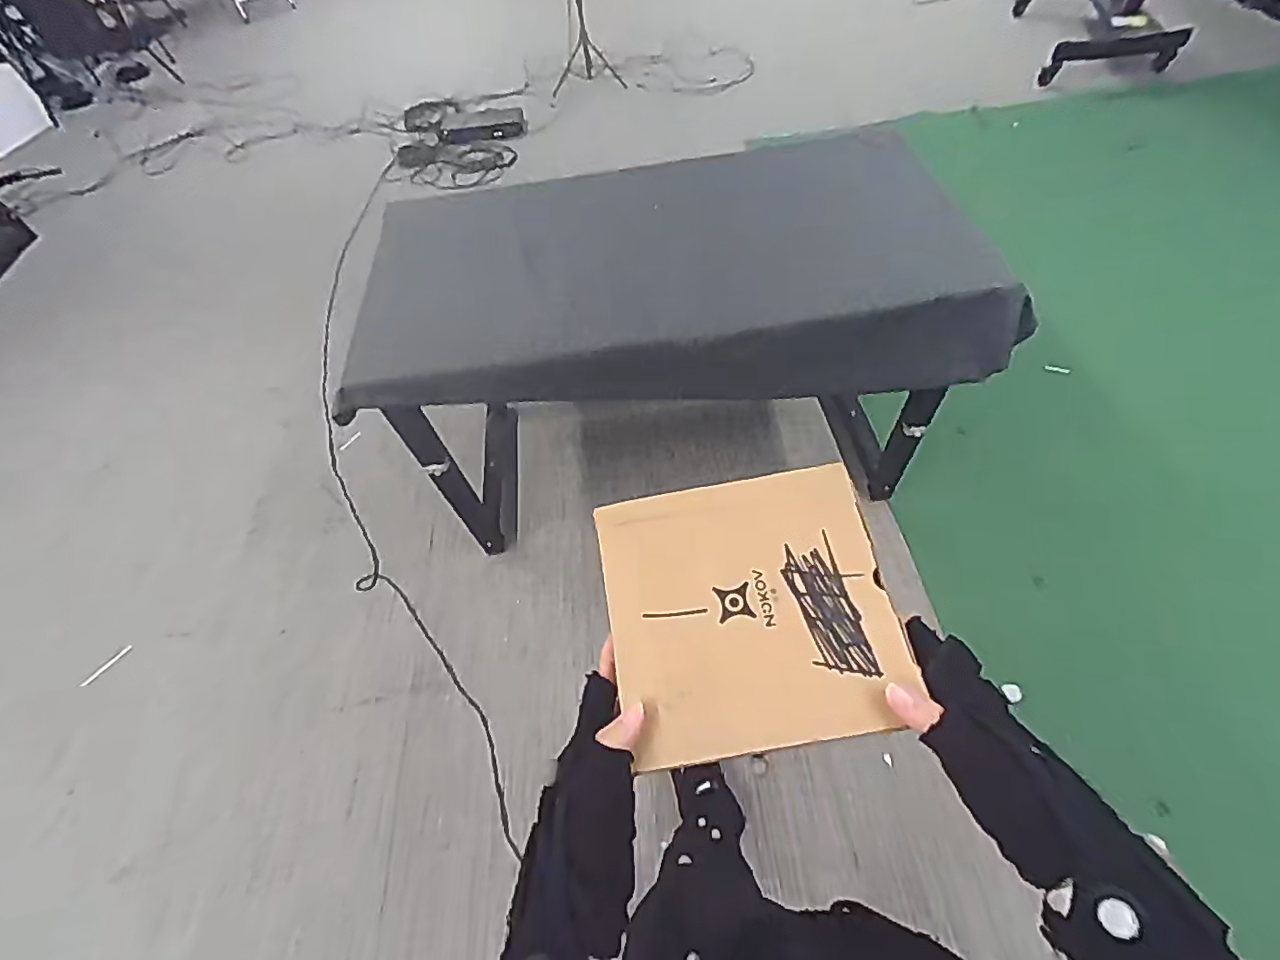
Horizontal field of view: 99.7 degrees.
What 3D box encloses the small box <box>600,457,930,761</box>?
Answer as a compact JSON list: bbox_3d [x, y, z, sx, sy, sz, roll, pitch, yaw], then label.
[{"bbox_3d":[0.074,0.105,0.418,0.179,0.176,0.168,-12,64,-3],"label":"small box"}]
